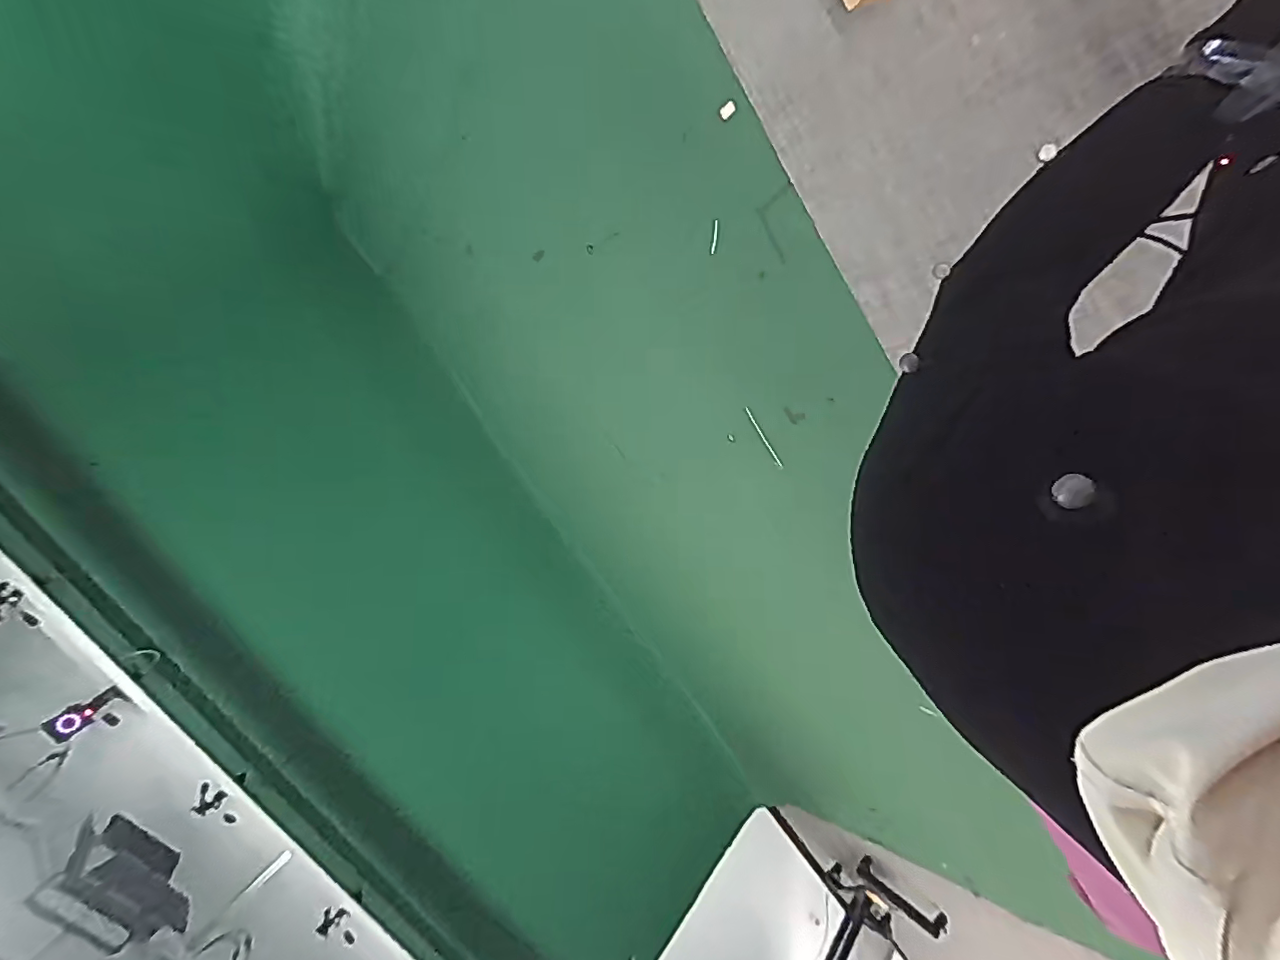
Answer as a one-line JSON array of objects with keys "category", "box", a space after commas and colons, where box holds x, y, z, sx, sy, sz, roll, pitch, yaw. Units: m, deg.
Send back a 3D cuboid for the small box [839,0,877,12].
[{"category": "small box", "box": [0.480, -1.100, 1.079, 0.168, 0.176, 0.179, 56, 150, -11]}]
